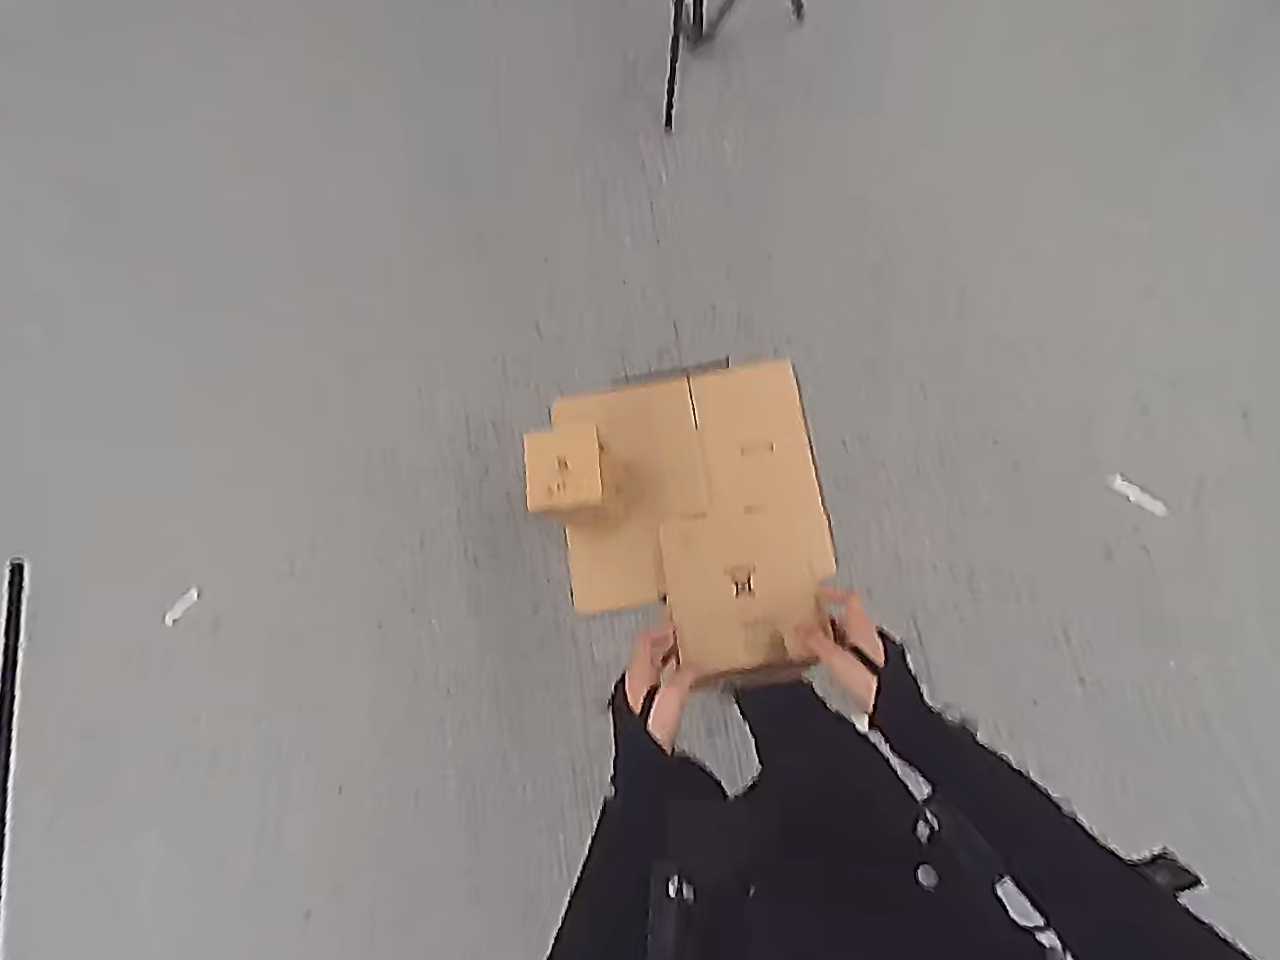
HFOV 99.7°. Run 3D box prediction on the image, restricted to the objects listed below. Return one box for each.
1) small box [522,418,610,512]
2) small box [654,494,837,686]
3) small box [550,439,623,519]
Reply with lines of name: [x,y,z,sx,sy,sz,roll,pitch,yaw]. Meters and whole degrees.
small box: [-0.165,-0.028,1.237,0.168,0.176,0.179,-6,80,5]
small box: [0.109,0.138,0.653,0.168,0.176,0.179,-7,62,-4]
small box: [-0.139,0.006,1.397,0.168,0.176,0.179,-7,80,4]
